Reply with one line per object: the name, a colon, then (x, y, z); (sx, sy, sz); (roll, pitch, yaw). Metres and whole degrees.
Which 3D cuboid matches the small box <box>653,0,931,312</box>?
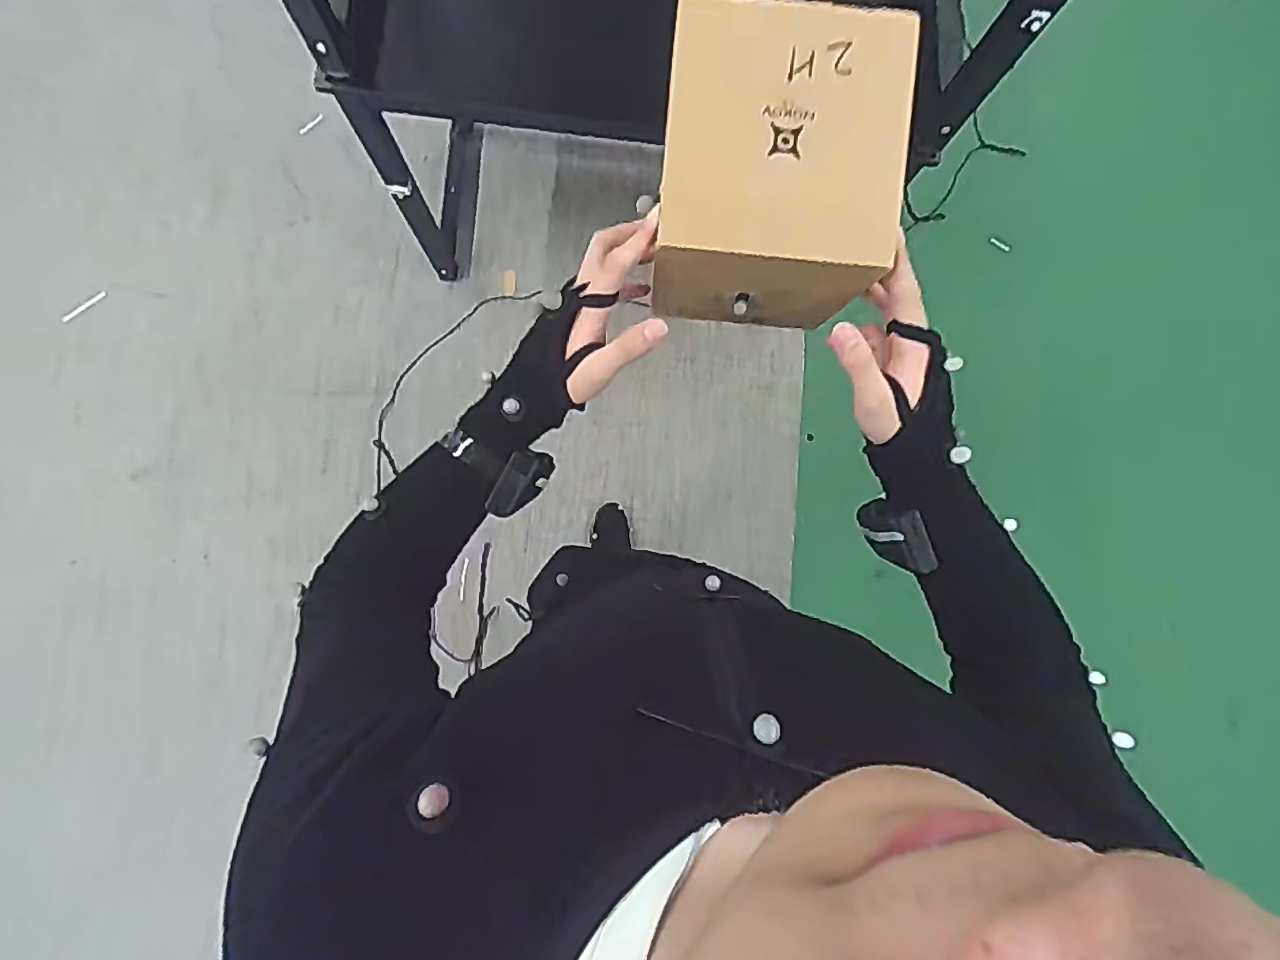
small box: (0.100, -0.247, 0.434); (0.168, 0.176, 0.179); (6, 91, 0)
